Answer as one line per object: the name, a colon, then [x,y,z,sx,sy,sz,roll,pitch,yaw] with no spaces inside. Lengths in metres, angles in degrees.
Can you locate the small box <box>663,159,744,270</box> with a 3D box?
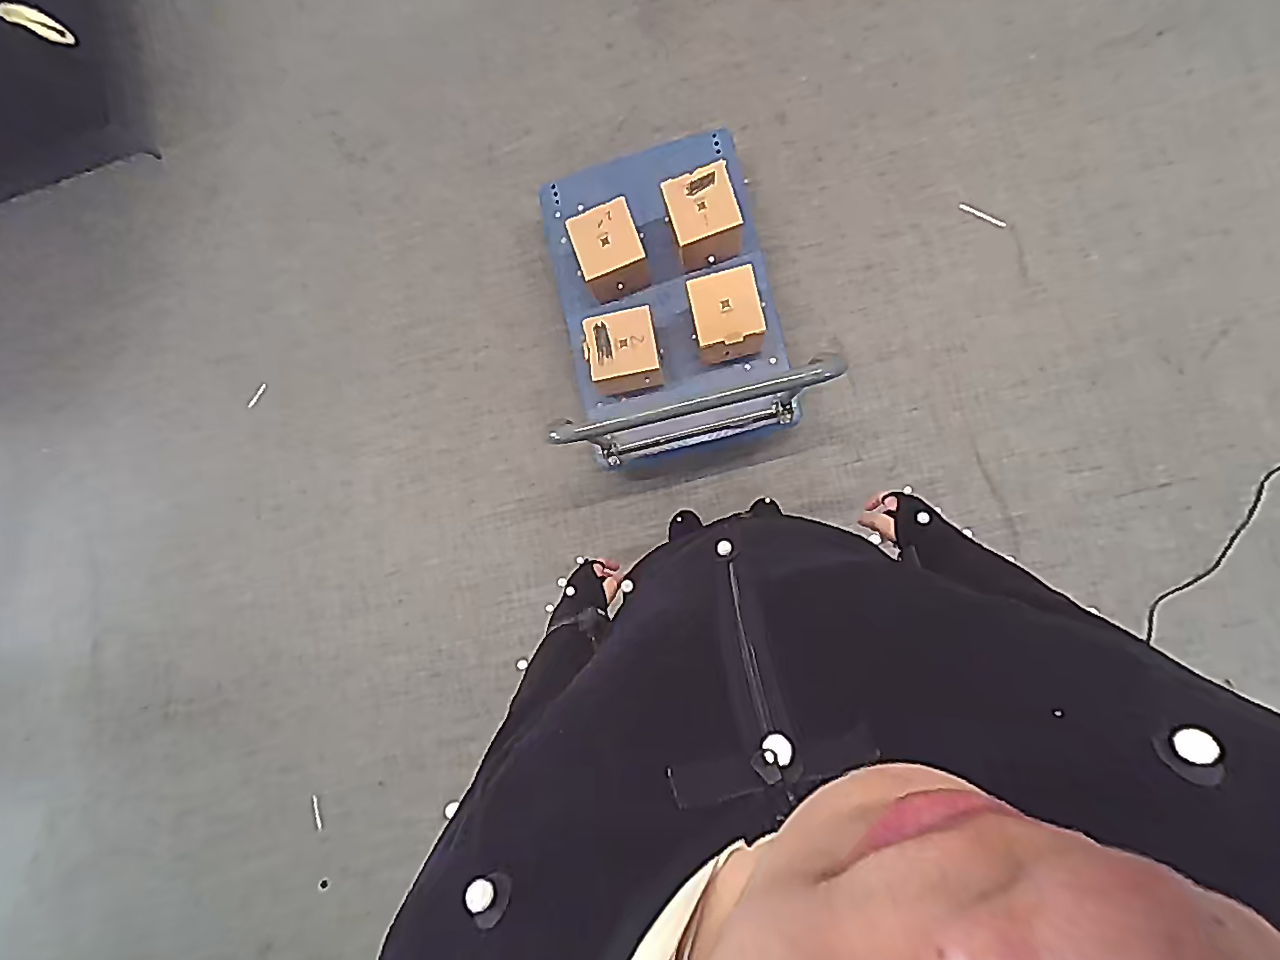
small box: [0.167,-0.687,1.418,0.168,0.176,0.179,-17,86,8]

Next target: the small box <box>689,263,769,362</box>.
small box: [0.226,-0.425,1.398,0.168,0.176,0.179,-13,86,7]

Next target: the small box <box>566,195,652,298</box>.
small box: [-0.076,-0.611,1.449,0.168,0.176,0.179,-20,85,6]
